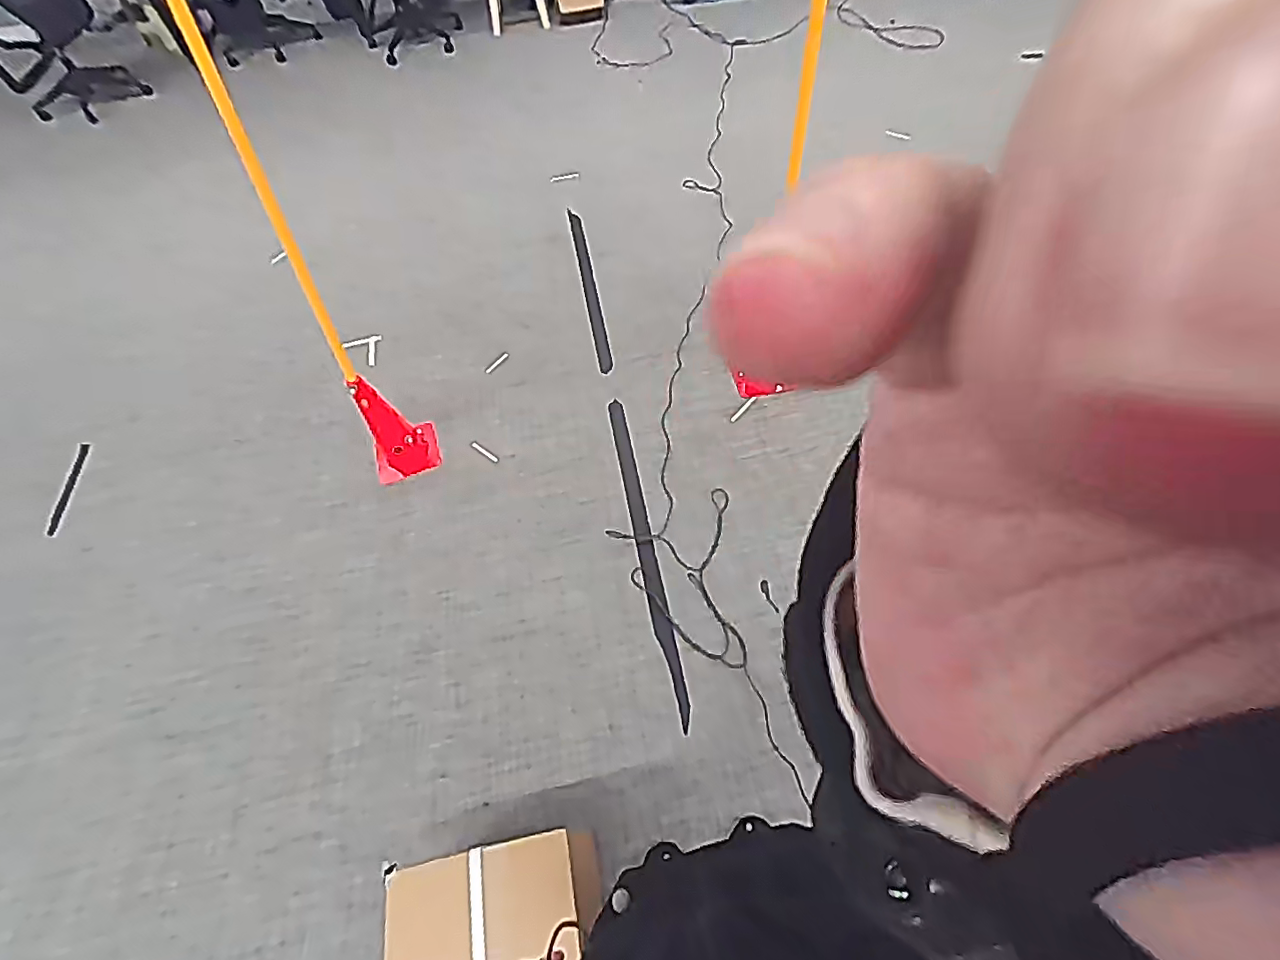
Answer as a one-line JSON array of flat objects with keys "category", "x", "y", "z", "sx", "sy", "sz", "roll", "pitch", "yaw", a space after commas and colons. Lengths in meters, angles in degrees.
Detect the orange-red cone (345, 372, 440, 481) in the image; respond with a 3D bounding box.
[{"category": "orange-red cone", "x": -0.773, "y": -0.186, "z": 1.620, "sx": 0.199, "sy": 0.360, "sz": 0.198, "roll": -20, "pitch": 58, "yaw": -6}]
